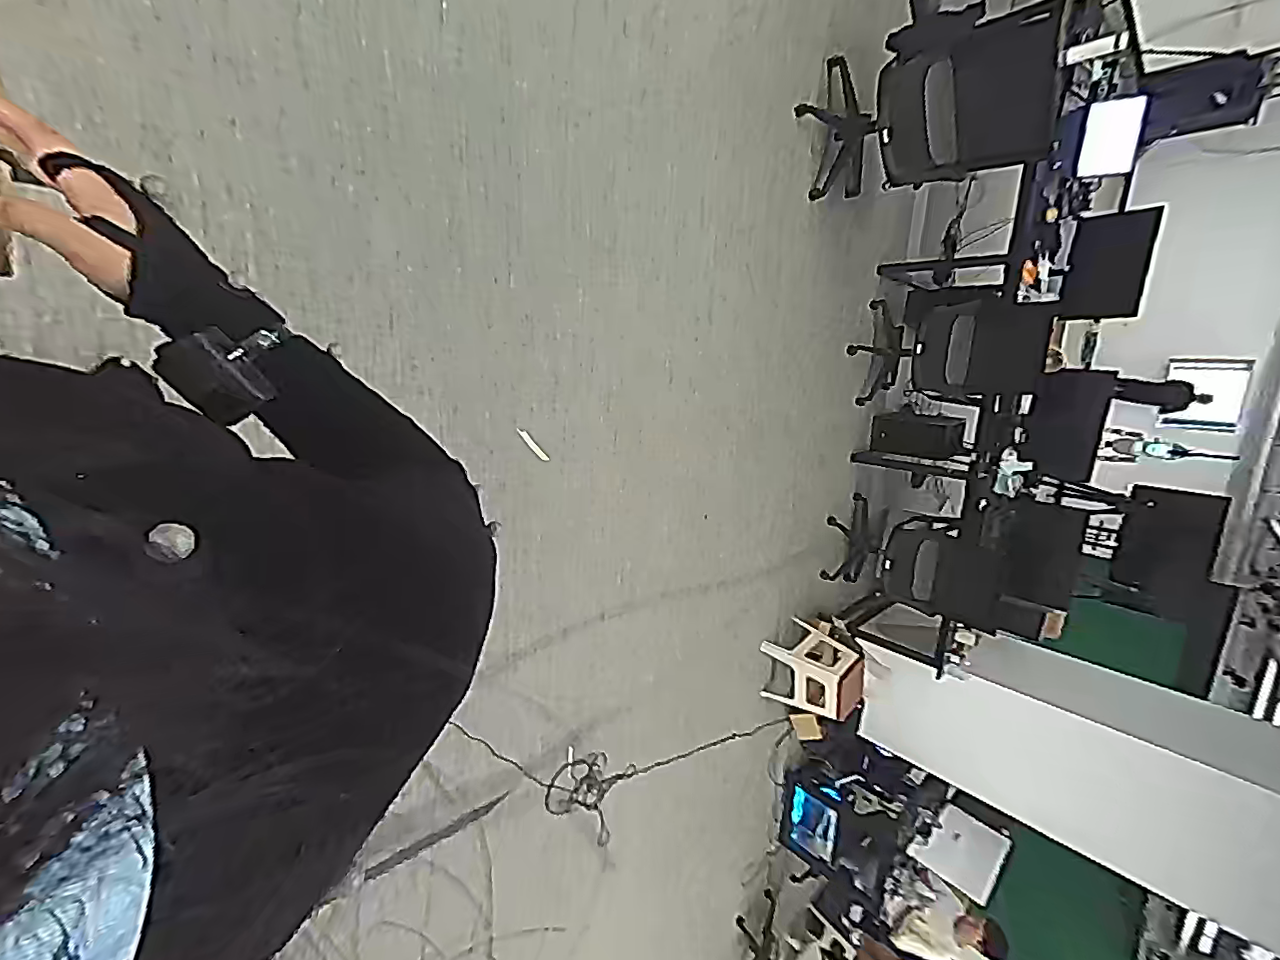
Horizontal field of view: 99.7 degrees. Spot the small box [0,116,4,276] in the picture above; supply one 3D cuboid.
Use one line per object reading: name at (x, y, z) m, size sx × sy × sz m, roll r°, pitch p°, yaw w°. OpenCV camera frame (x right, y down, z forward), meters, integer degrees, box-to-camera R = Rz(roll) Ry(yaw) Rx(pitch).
small box at (-0.520, -0.261, 0.326) m, size 0.168 × 0.179 × 0.176 m, roll -6°, pitch 60°, yaw -45°
